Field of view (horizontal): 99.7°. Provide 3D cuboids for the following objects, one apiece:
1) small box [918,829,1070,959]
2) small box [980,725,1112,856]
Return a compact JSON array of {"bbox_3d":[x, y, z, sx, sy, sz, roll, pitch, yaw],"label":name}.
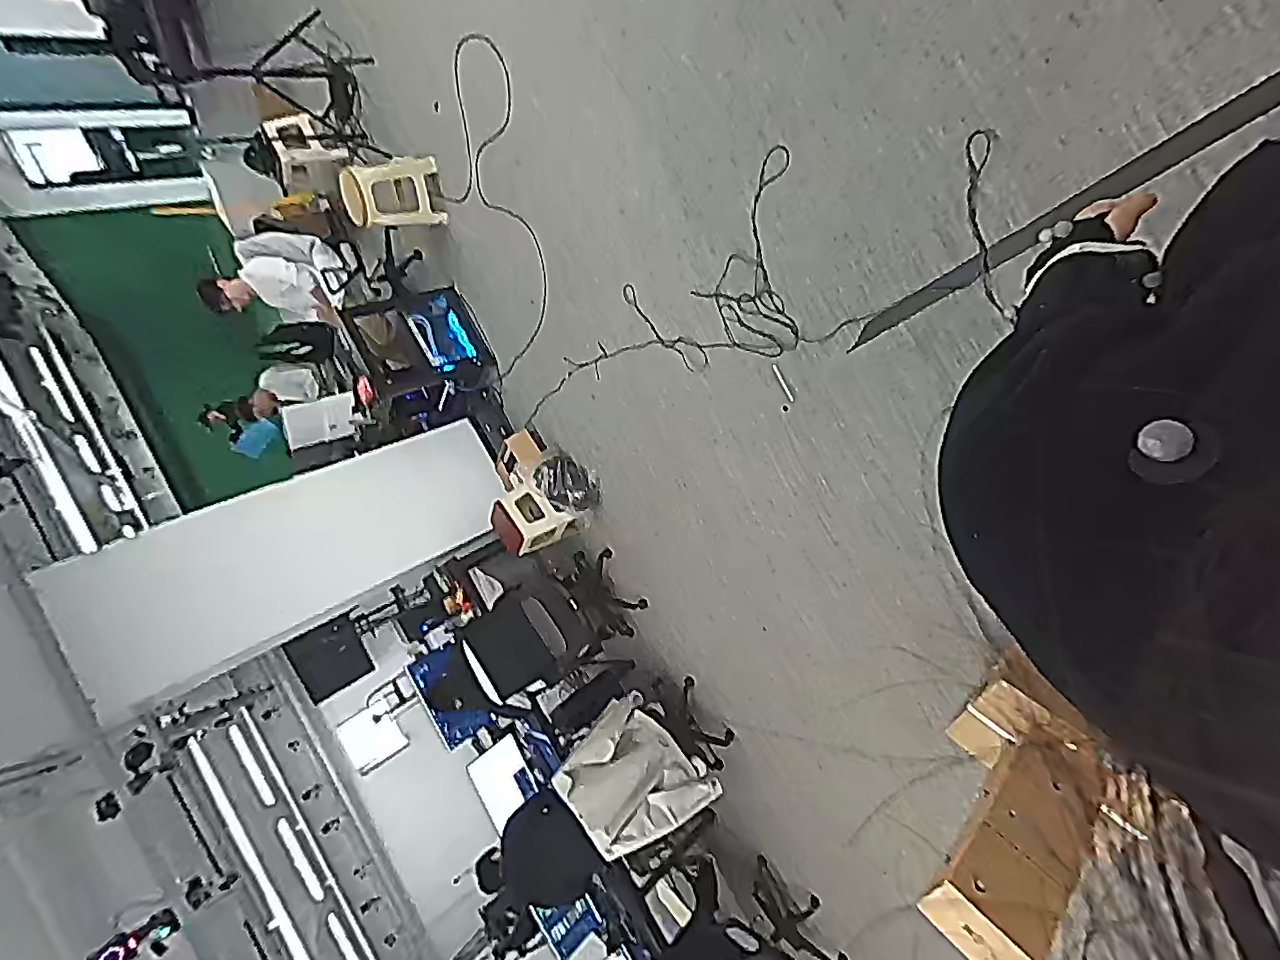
[{"bbox_3d":[0.710,0.849,1.092,0.179,0.176,0.168,37,140,34],"label":"small box"},{"bbox_3d":[0.956,0.724,1.274,0.179,0.176,0.168,37,138,35],"label":"small box"}]
